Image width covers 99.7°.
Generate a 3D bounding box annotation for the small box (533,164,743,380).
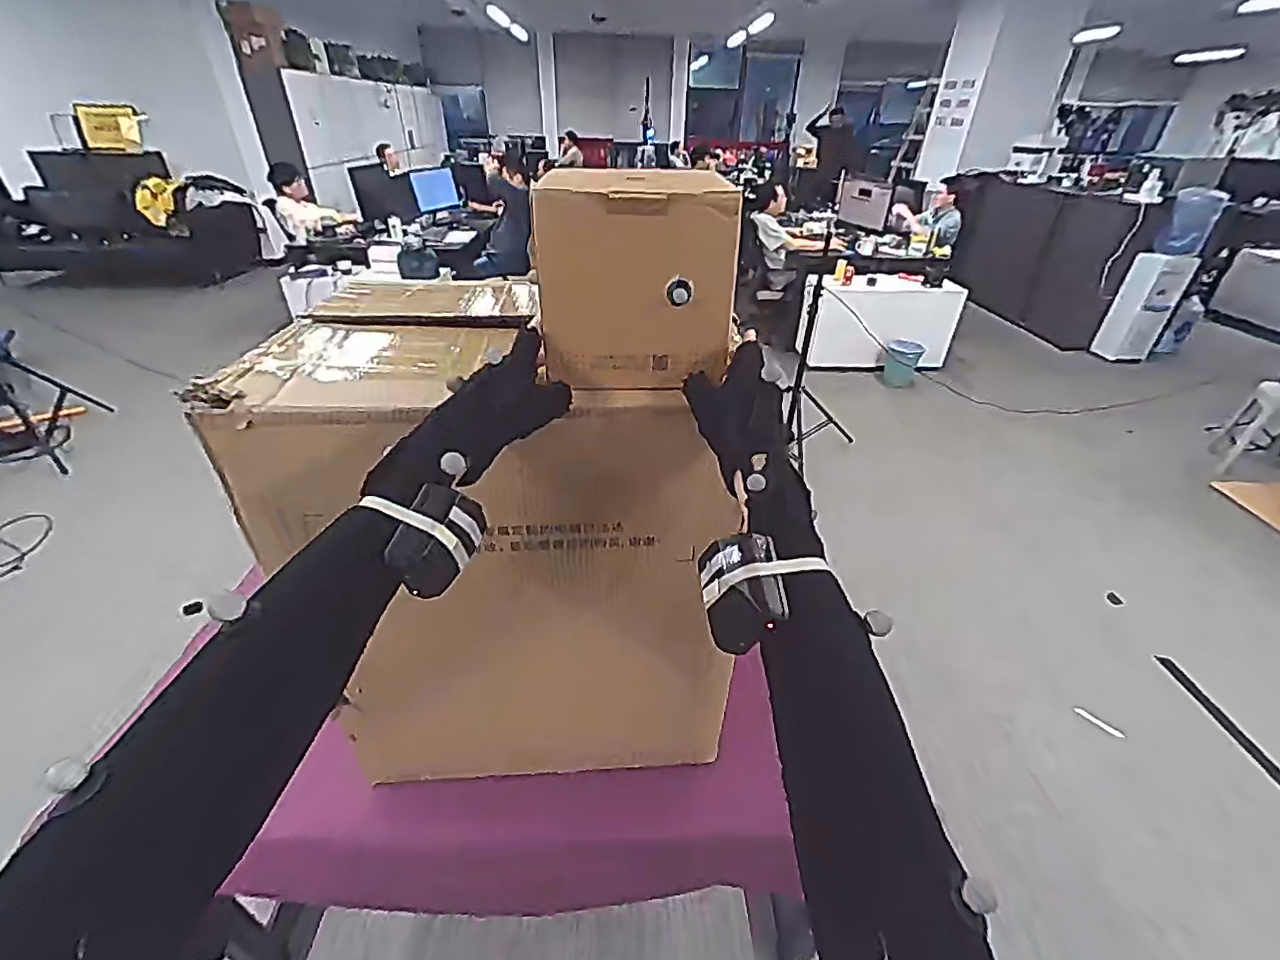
[{"bbox_3d":[-0.003,-0.204,0.525,0.168,0.176,0.179,0,33,-2],"label":"small box"}]
